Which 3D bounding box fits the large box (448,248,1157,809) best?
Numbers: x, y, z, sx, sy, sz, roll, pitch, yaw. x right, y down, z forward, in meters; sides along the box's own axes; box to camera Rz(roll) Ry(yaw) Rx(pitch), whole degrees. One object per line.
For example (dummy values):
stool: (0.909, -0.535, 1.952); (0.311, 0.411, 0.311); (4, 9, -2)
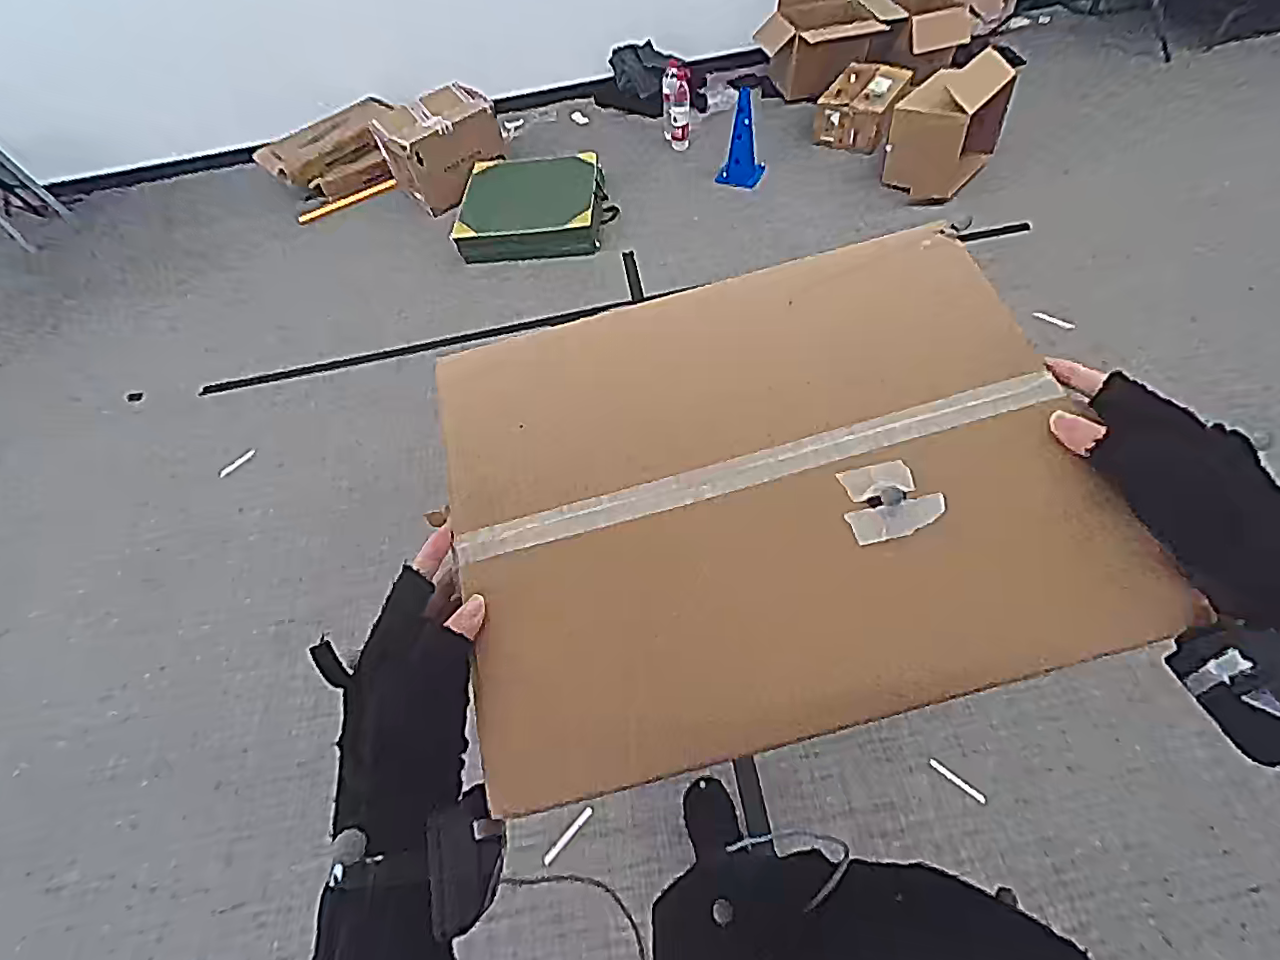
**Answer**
large box: (0.088, 0.059, 0.506); (0.408, 0.320, 0.320); (-15, 67, -1)
